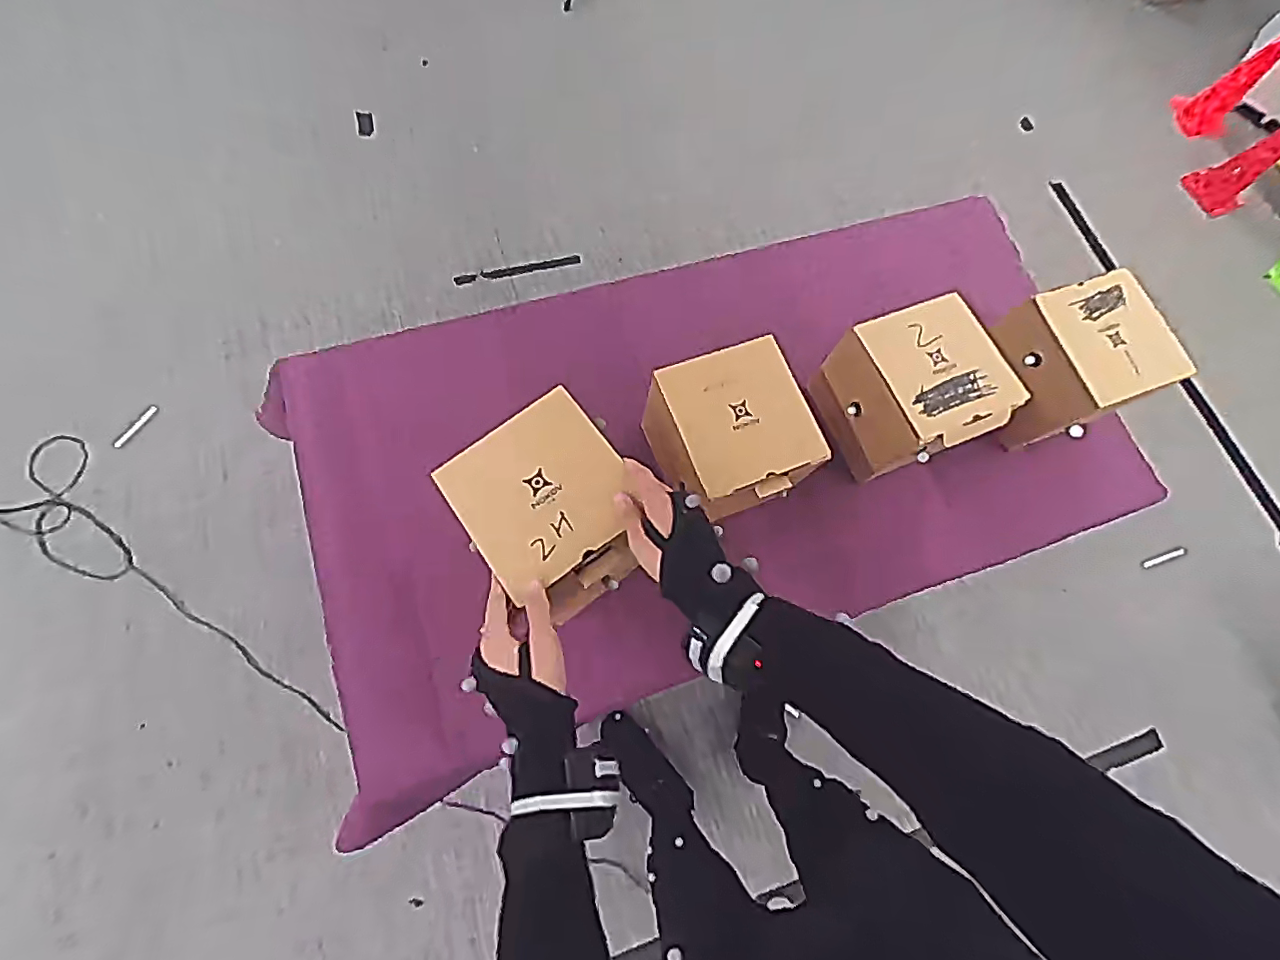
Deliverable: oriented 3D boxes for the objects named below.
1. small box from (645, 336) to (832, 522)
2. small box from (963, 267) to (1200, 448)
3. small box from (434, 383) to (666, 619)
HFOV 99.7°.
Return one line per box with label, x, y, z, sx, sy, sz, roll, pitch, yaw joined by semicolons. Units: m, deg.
small box;0.116;-0.054;0.715;0.168;0.176;0.179;-19;75;-11
small box;0.622;-0.171;0.791;0.168;0.176;0.179;-19;76;-9
small box;-0.087;0.034;0.598;0.168;0.176;0.179;-36;71;-8
